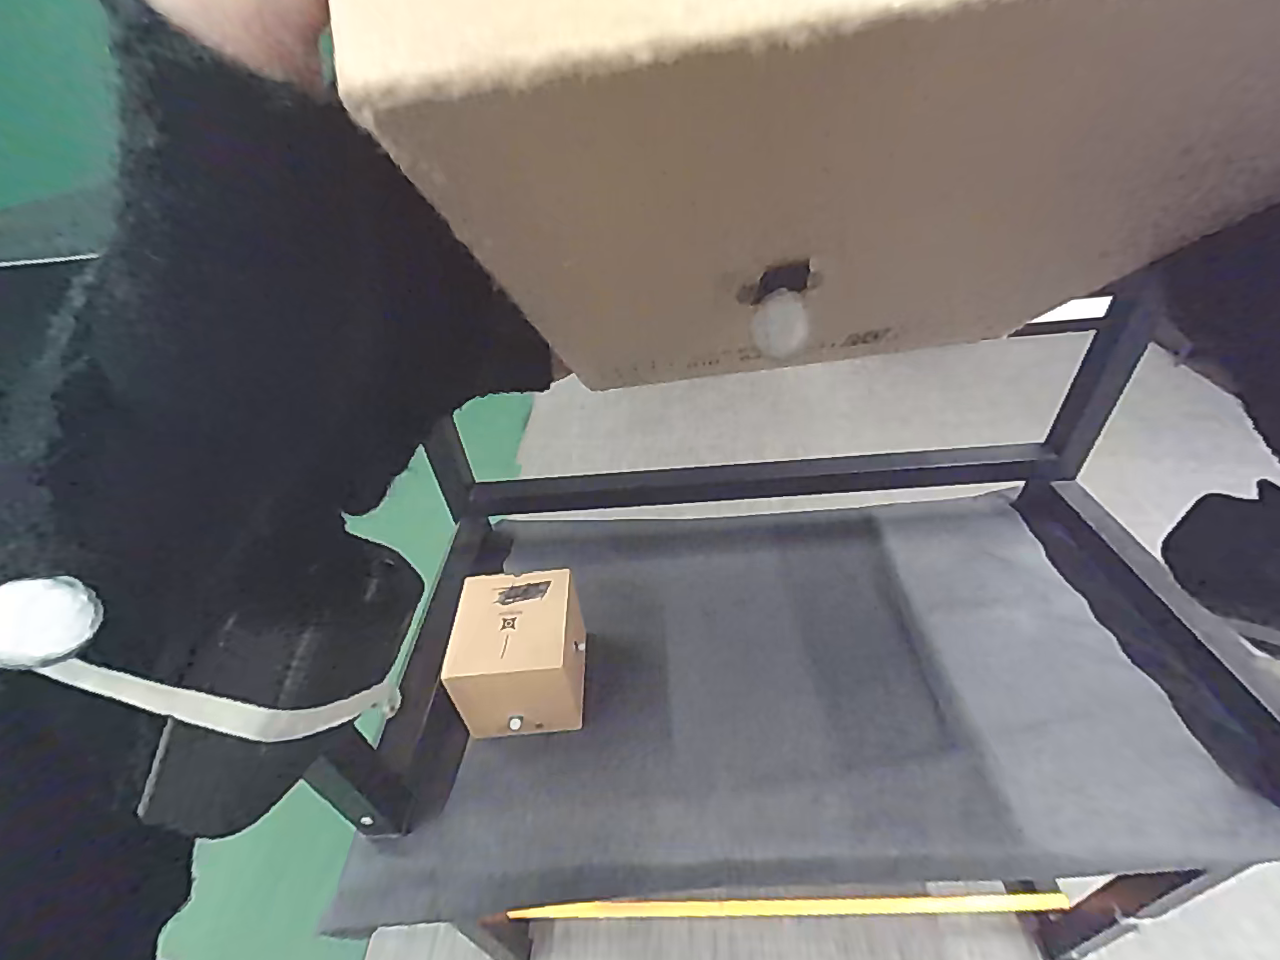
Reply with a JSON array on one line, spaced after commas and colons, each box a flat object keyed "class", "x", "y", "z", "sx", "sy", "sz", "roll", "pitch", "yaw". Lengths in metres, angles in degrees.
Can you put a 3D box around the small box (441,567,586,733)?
[{"class": "small box", "x": -0.178, "y": 0.258, "z": 0.825, "sx": 0.168, "sy": 0.176, "sz": 0.179, "roll": -6, "pitch": 39, "yaw": 2}]
